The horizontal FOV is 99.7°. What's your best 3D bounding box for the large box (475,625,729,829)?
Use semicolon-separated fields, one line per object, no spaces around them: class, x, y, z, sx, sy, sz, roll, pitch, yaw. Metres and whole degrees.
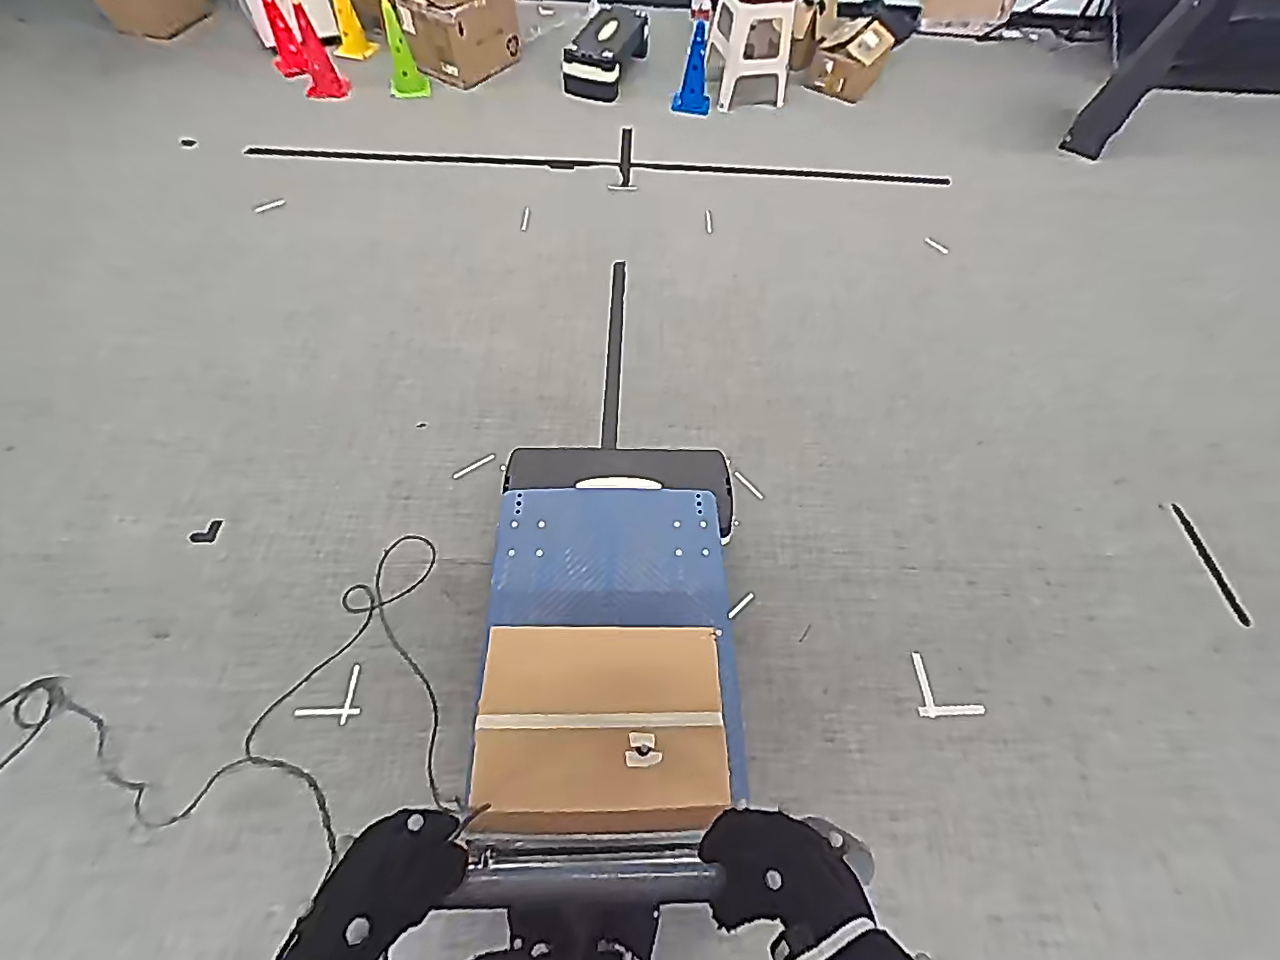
large box;-0.073;0.479;1.039;0.408;0.320;0.320;2;58;-4
